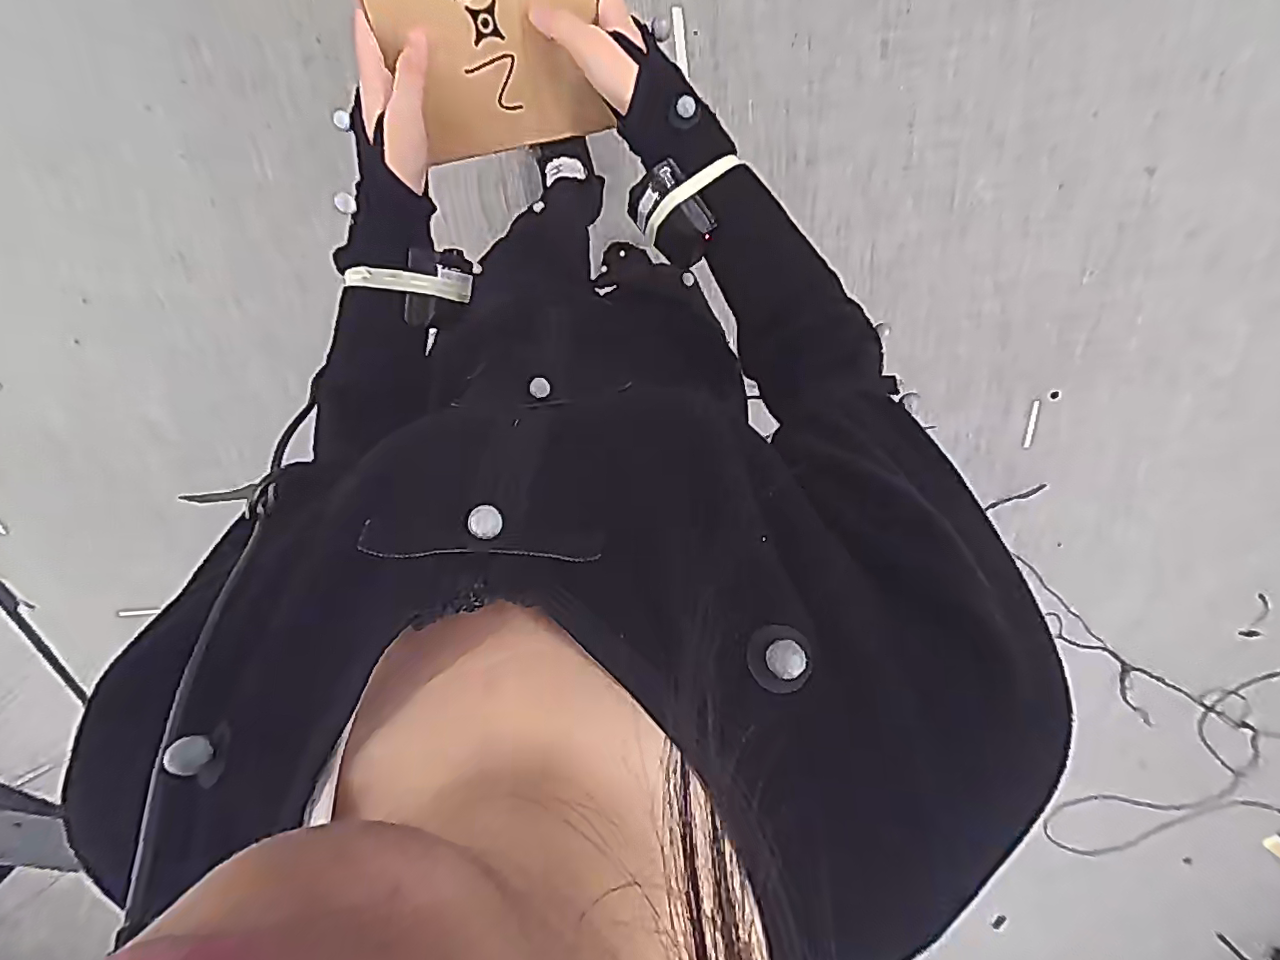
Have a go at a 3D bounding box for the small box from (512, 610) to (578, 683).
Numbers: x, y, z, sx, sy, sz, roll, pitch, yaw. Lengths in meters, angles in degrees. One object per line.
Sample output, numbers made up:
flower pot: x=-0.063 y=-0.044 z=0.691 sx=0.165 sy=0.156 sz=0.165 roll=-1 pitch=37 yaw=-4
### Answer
small box: x=-0.306 y=0.542 z=1.778 sx=0.179 sy=0.176 sz=0.168 roll=-1 pitch=116 yaw=2

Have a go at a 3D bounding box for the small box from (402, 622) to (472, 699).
small box: x=-0.680 y=0.601 z=1.816 sx=0.179 sy=0.176 sz=0.168 roll=9 pitch=116 yaw=-5
